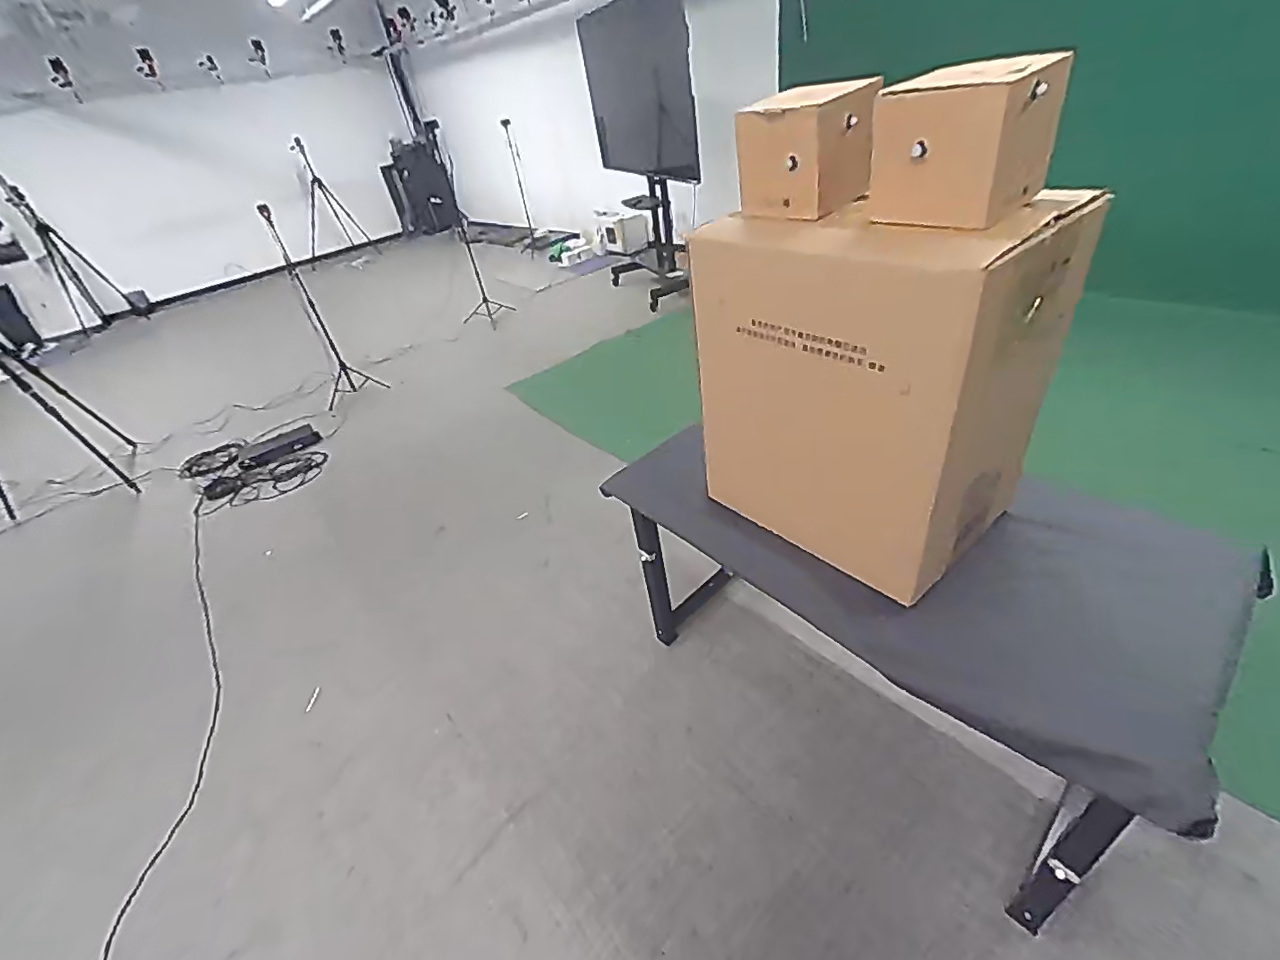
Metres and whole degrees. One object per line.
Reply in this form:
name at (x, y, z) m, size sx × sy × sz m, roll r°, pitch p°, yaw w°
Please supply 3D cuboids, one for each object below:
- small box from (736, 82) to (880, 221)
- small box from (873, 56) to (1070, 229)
small box at (0.290, -0.565, 0.939) m, size 0.179 × 0.176 × 0.168 m, roll -34°, pitch 44°, yaw -25°
small box at (0.453, -0.469, 0.766) m, size 0.168 × 0.176 × 0.179 m, roll -34°, pitch 41°, yaw -23°
